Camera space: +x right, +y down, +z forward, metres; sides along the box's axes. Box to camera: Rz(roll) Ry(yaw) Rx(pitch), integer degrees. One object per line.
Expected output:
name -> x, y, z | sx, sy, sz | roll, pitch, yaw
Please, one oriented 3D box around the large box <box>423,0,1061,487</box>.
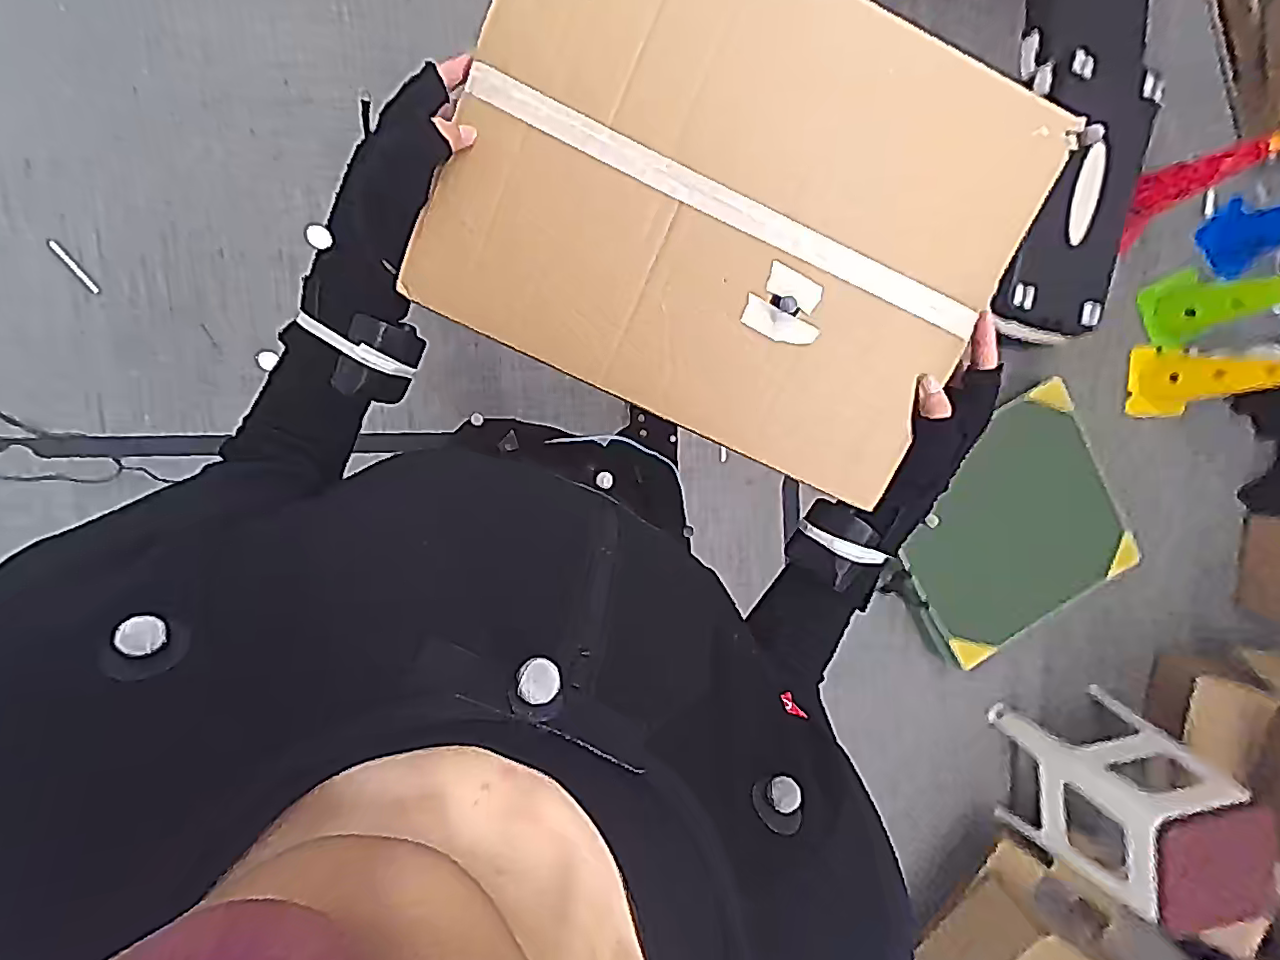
large box -> 0.068, -0.234, 0.553 | 0.408, 0.320, 0.320 | 24, 101, -6
